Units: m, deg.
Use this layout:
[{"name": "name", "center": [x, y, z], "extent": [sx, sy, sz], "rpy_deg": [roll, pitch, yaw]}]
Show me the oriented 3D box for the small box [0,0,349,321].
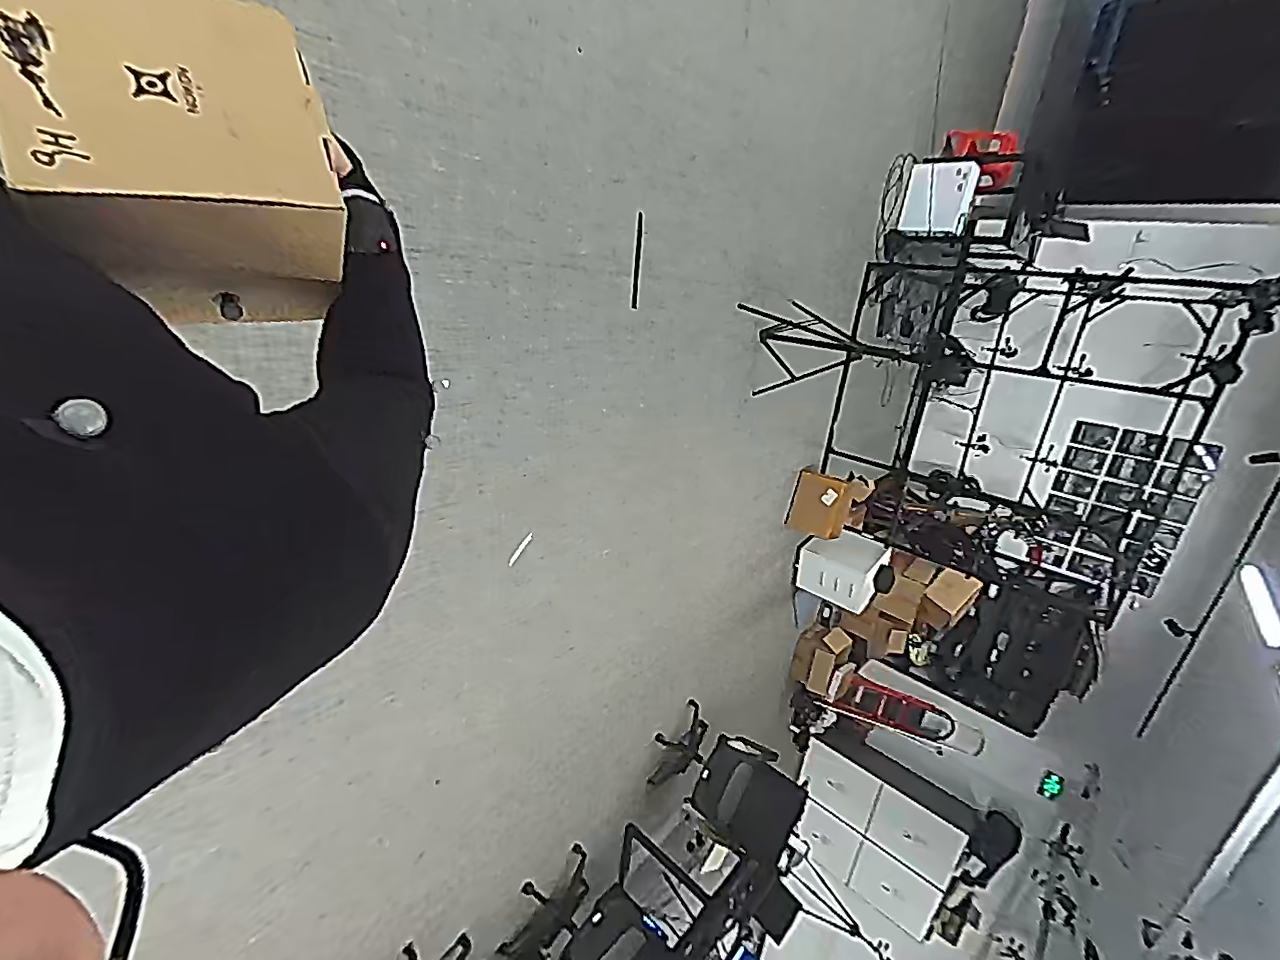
[{"name": "small box", "center": [-0.359, -0.244, 0.442], "extent": [0.179, 0.176, 0.168], "rpy_deg": [-14, 83, -34]}]
